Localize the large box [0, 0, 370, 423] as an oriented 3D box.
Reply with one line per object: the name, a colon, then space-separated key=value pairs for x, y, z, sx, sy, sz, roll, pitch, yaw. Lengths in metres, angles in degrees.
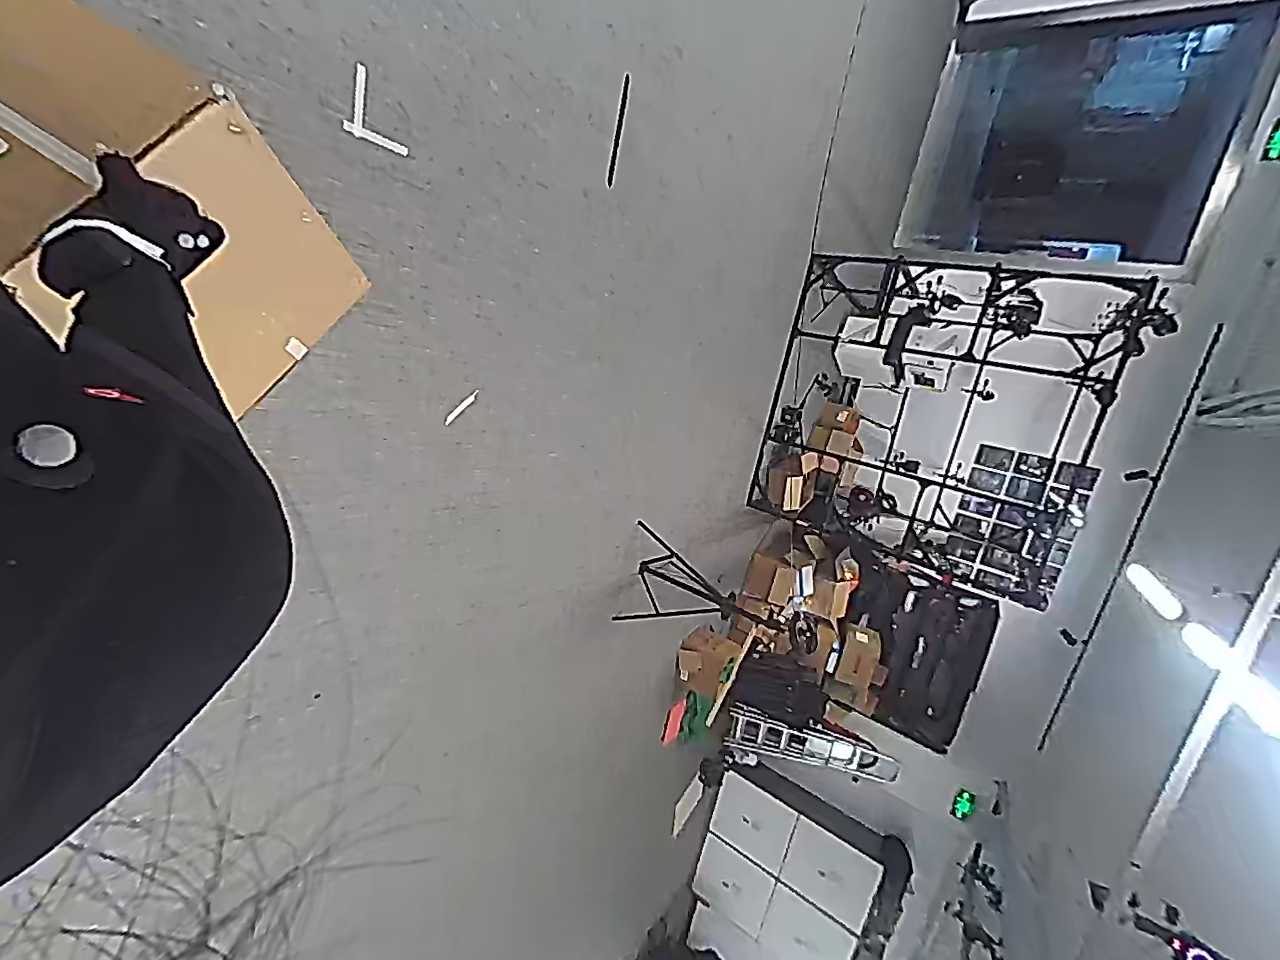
large box: x=-0.673 y=-0.343 z=0.718 sx=0.320 sy=0.408 sz=0.320 roll=-55 pitch=170 yaw=-13
